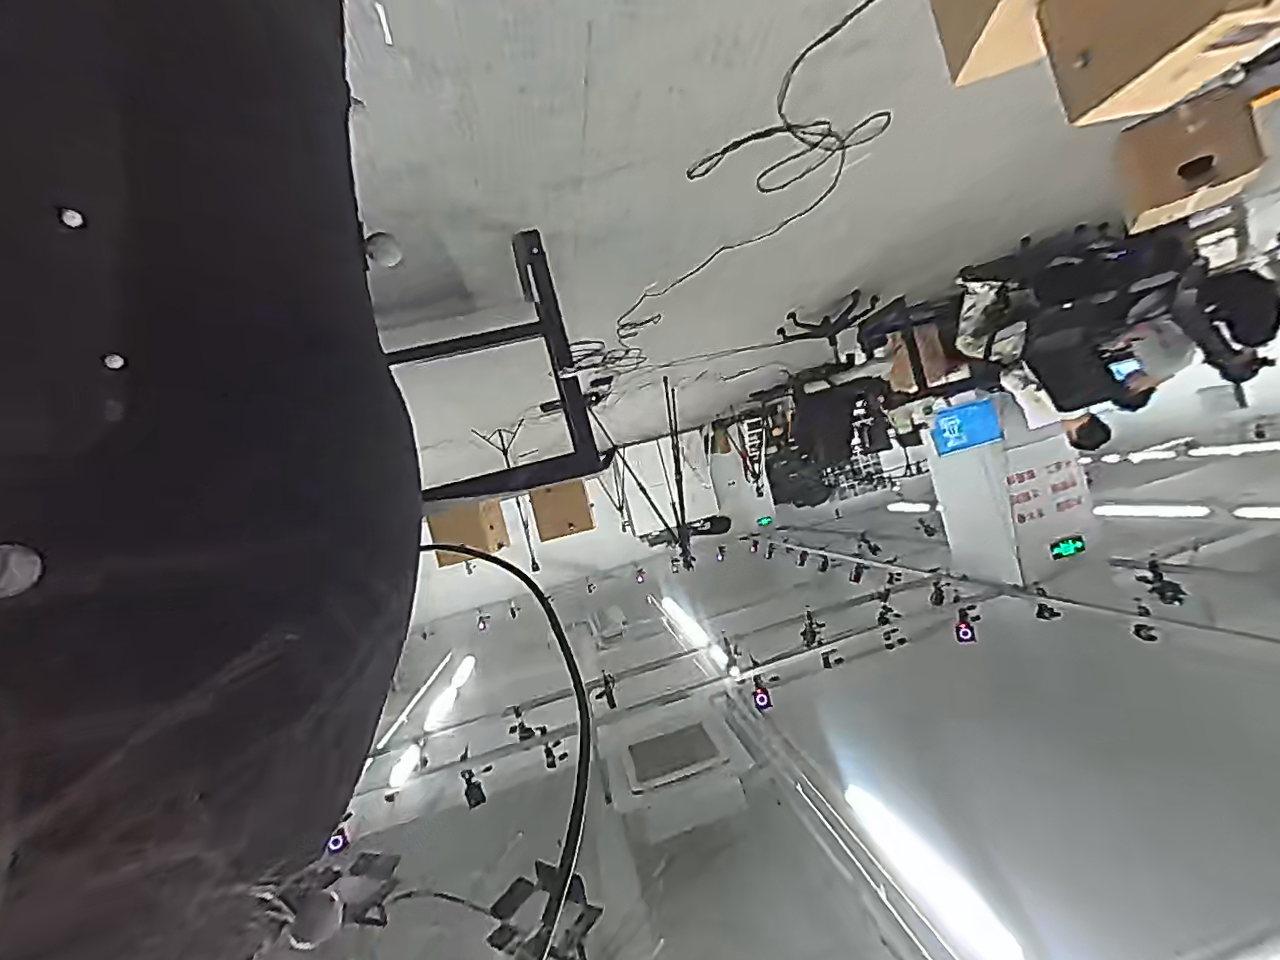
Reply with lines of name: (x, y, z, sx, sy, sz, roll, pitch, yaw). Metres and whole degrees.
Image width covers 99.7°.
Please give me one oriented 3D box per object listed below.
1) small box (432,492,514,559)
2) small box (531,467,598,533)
small box: (-0.522, 0.135, 1.695, 0.179, 0.176, 0.168, -14, 180, 8)
small box: (-0.229, 0.058, 1.674, 0.168, 0.176, 0.179, -15, 180, -3)
